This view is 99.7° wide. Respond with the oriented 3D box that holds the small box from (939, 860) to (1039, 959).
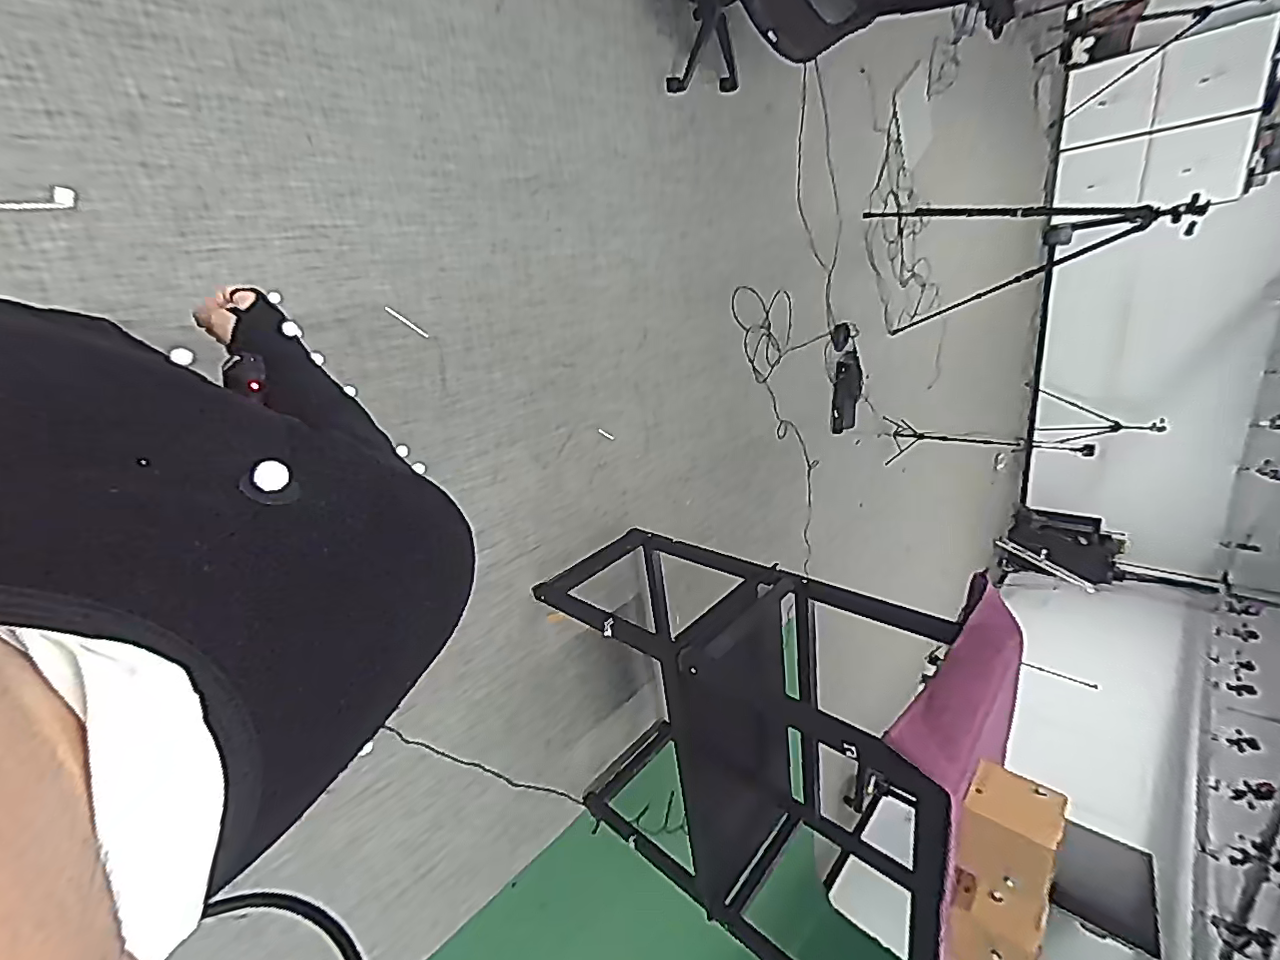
[{"bbox_3d":[0.832,1.061,1.295,0.168,0.176,0.179,-22,114,-42],"label":"small box"}]
